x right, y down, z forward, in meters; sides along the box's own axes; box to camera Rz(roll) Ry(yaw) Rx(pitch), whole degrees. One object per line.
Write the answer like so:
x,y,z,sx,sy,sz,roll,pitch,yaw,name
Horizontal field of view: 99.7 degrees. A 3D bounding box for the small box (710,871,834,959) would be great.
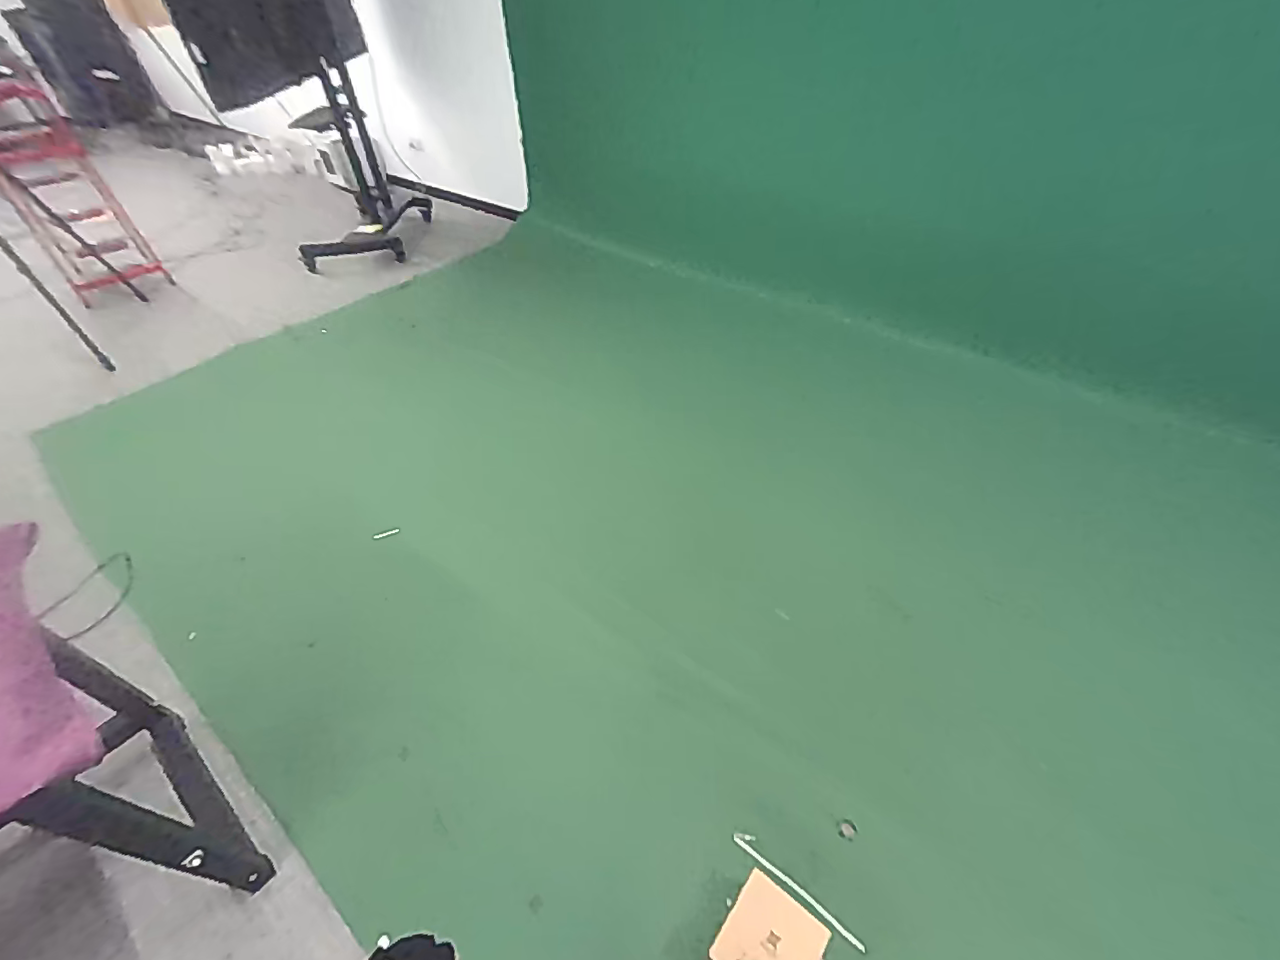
0.246,0.914,1.046,0.168,0.176,0.179,29,52,28,small box
